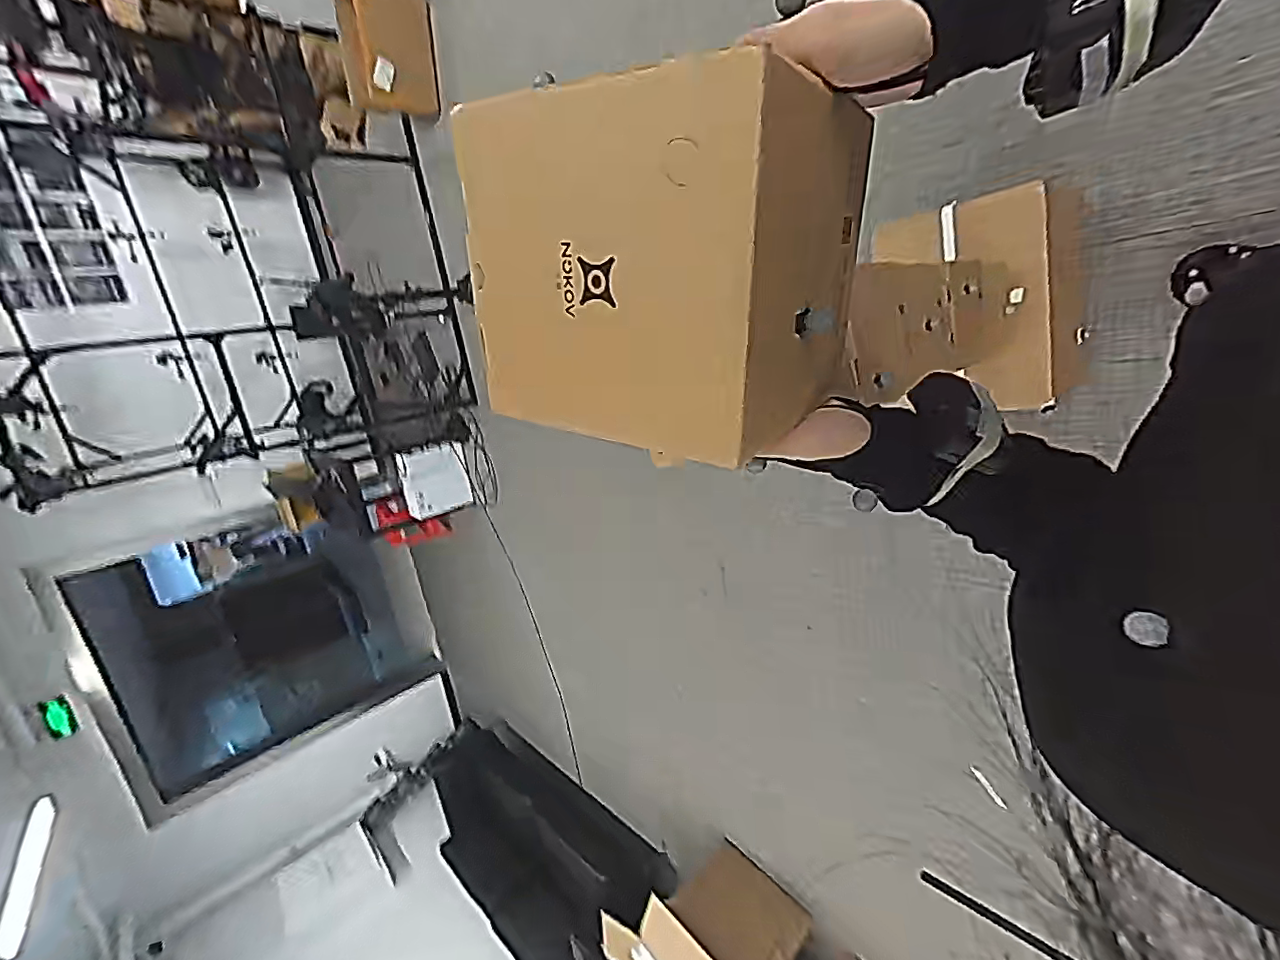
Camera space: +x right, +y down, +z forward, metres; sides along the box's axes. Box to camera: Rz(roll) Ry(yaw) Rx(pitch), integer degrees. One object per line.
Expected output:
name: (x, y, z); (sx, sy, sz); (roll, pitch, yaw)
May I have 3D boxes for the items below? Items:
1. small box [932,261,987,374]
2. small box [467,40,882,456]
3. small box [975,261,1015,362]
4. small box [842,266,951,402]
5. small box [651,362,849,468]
small box: (0.468, -0.266, 0.917); (0.179, 0.176, 0.168); (1, 106, 50)
small box: (0.029, -0.131, 0.326); (0.179, 0.176, 0.168); (16, 119, 32)
small box: (0.583, -0.308, 1.024); (0.179, 0.176, 0.168); (2, 109, 48)
small box: (0.347, -0.215, 0.818); (0.179, 0.176, 0.168); (-6, 101, 50)
small box: (0.112, -0.123, 0.608); (0.179, 0.176, 0.168); (-11, 97, 49)
